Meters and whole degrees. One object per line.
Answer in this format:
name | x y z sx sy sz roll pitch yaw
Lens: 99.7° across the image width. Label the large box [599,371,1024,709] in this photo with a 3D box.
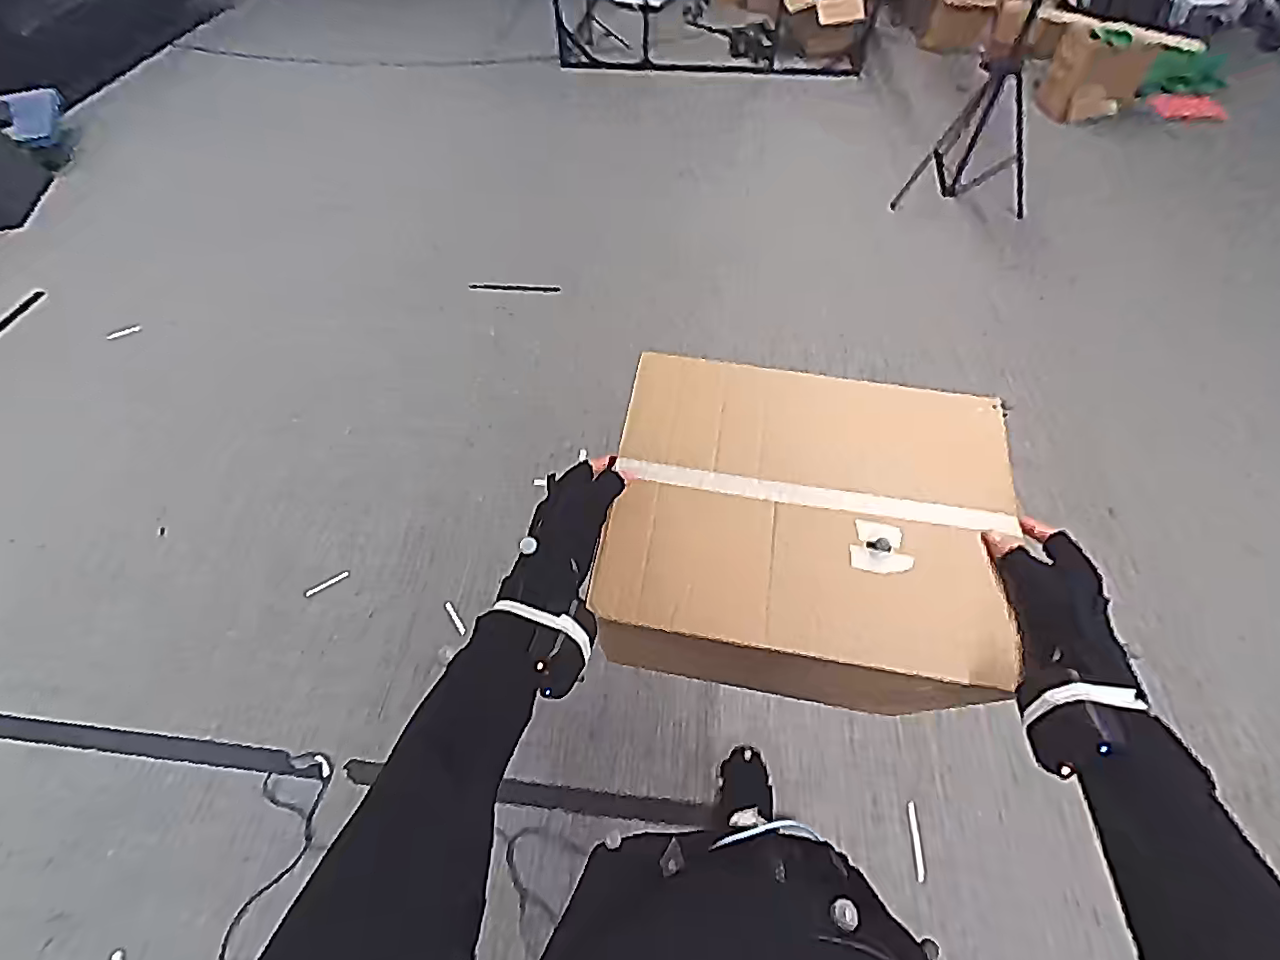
large box | 0.178 0.094 0.702 0.408 0.320 0.320 9 65 5
